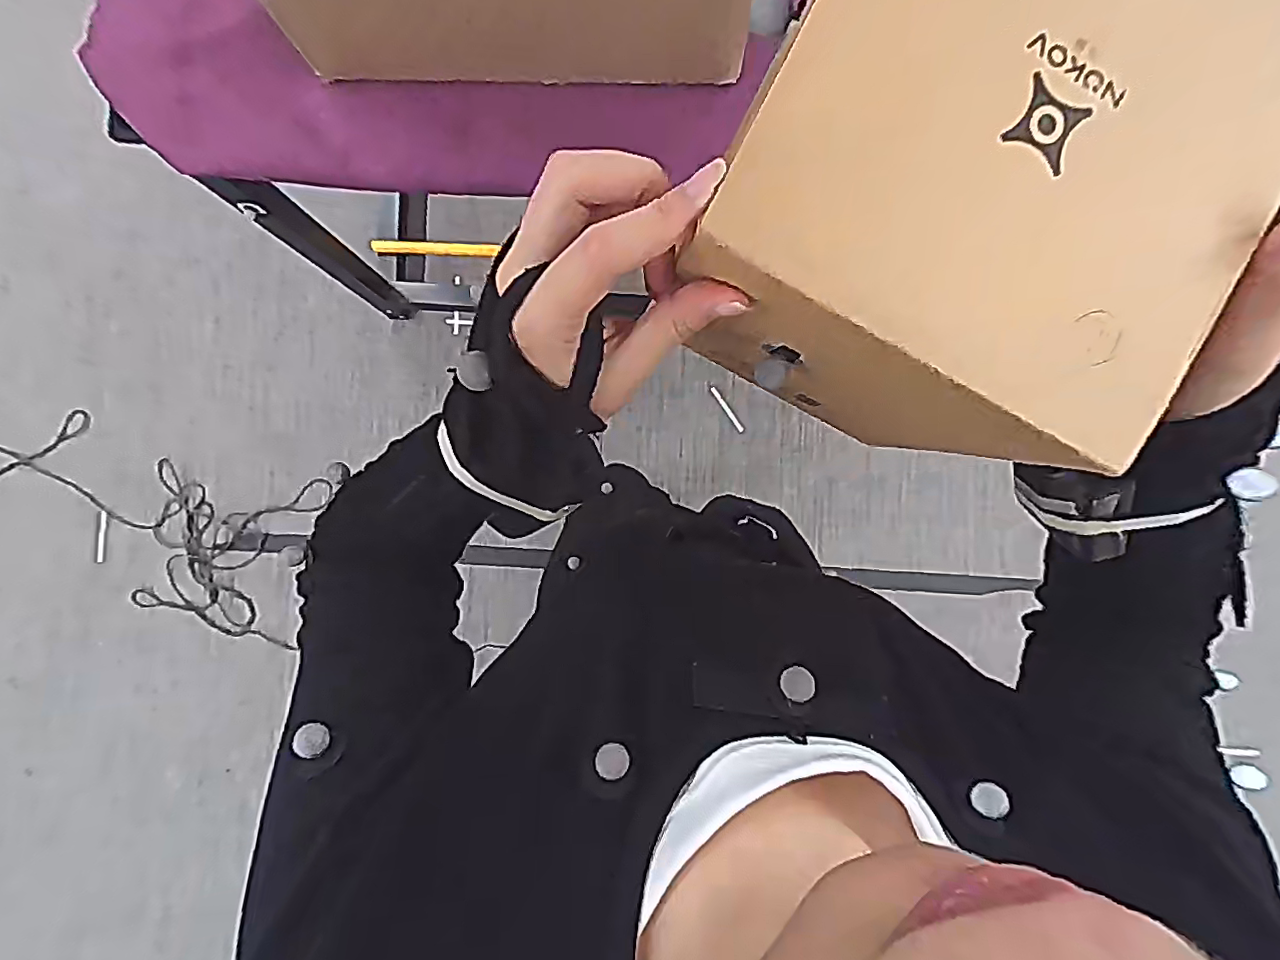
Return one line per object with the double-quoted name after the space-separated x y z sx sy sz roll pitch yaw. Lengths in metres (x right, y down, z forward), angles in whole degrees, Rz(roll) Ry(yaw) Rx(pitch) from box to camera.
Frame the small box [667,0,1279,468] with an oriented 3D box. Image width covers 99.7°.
0.122 -0.122 0.245 0.168 0.176 0.179 27 93 -6 "small box"
